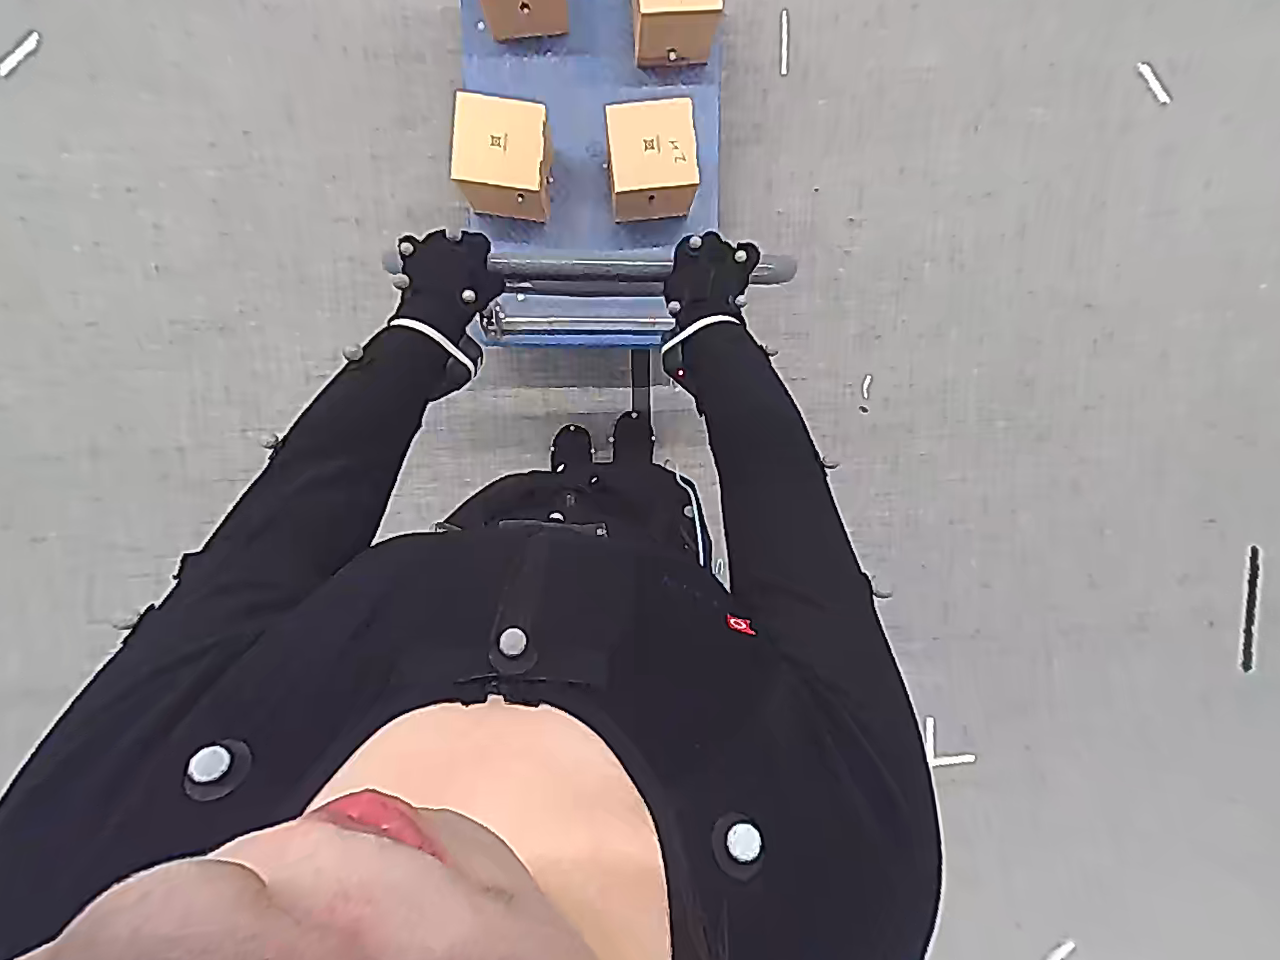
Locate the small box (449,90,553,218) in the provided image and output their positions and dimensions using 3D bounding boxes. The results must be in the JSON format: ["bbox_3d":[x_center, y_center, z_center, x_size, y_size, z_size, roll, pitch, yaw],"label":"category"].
[{"bbox_3d":[-0.284,-0.671,1.133,0.179,0.176,0.168,5,96,-5],"label":"small box"}]

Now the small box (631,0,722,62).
[{"bbox_3d":[0.068,-1.007,1.111,0.168,0.176,0.179,-5,98,-2],"label":"small box"}]

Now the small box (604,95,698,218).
[{"bbox_3d":[0.020,-0.675,1.148,0.179,0.176,0.168,-7,97,-2],"label":"small box"}]
